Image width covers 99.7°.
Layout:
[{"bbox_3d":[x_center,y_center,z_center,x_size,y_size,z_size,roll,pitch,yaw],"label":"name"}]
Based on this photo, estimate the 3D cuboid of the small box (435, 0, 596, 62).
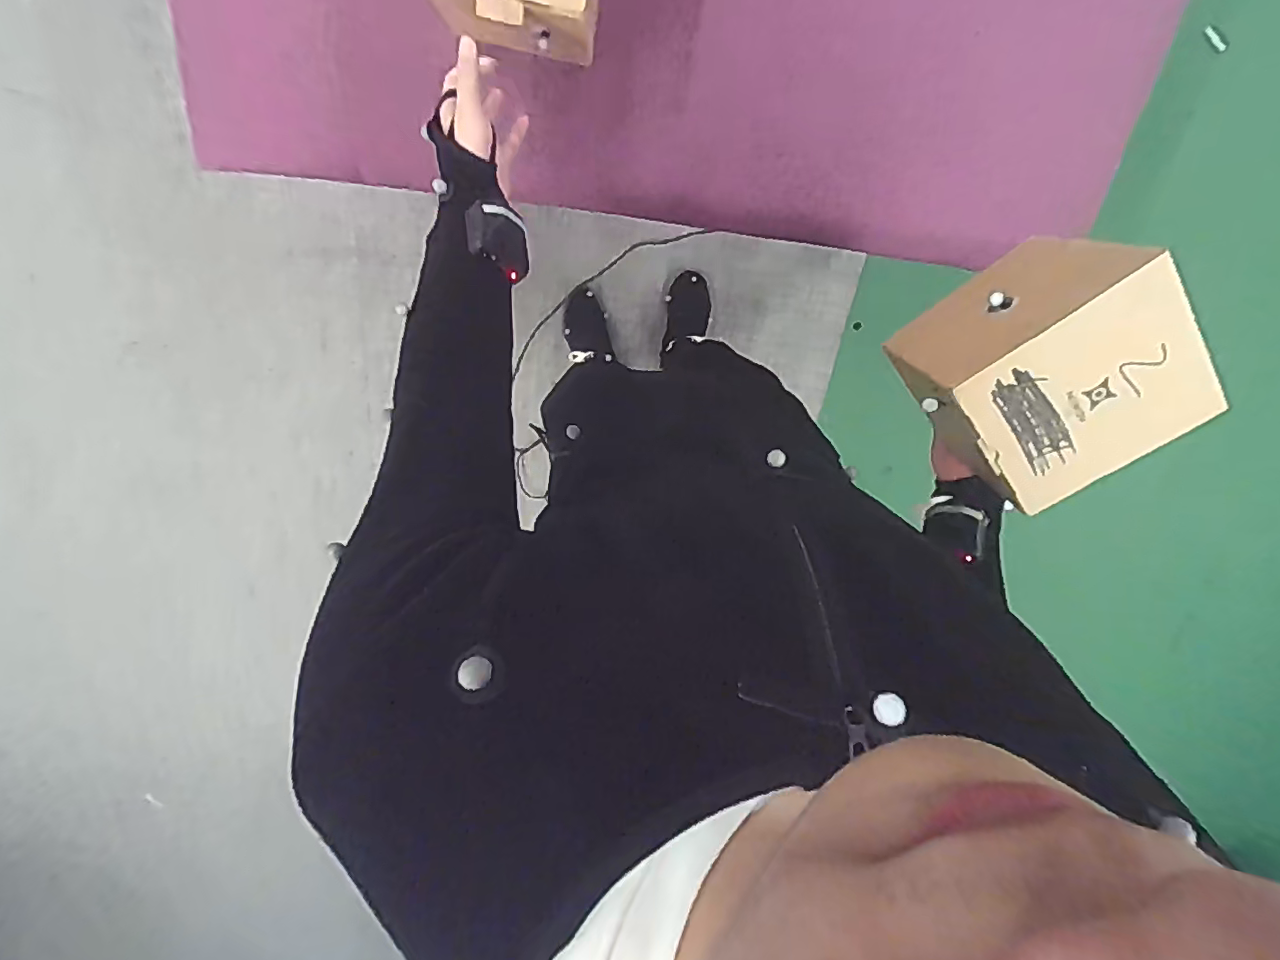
[{"bbox_3d":[-0.124,-0.571,0.557,0.168,0.176,0.179,9,113,-8],"label":"small box"}]
